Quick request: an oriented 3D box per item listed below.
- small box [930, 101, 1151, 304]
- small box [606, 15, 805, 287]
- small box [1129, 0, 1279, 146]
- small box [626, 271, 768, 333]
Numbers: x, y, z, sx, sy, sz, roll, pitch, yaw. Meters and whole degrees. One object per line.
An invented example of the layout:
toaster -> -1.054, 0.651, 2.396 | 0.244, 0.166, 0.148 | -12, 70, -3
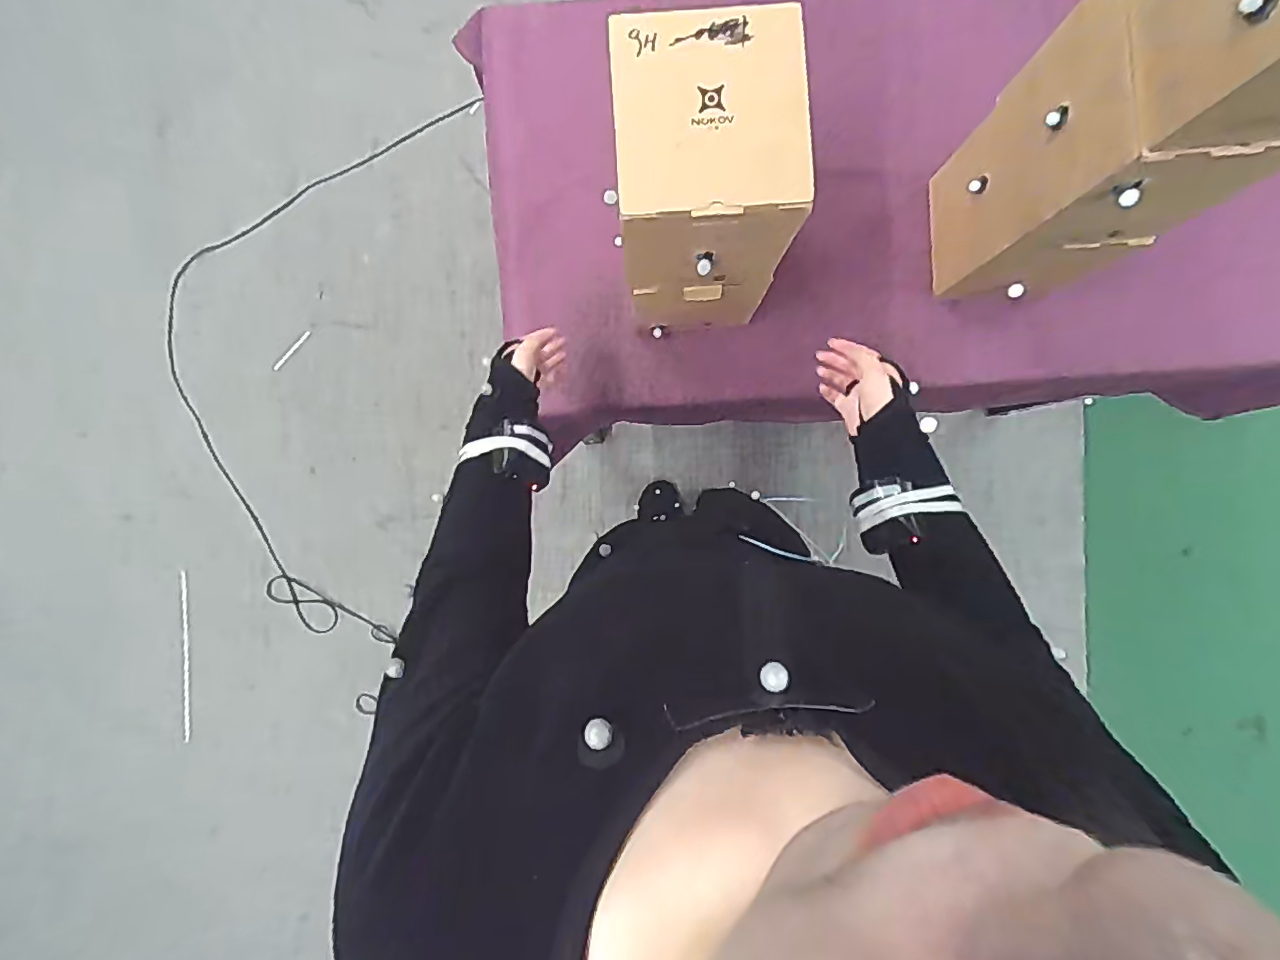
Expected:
small box -> 0.495, -0.341, 0.694 | 0.168, 0.176, 0.179 | -2, 89, 2
small box -> 0.057, -0.303, 0.538 | 0.168, 0.176, 0.179 | -3, 90, 0
small box -> 0.486, -0.357, 0.367 | 0.168, 0.176, 0.179 | -4, 88, 0
small box -> 0.063, -0.298, 0.702 | 0.168, 0.176, 0.179 | -5, 88, 1
